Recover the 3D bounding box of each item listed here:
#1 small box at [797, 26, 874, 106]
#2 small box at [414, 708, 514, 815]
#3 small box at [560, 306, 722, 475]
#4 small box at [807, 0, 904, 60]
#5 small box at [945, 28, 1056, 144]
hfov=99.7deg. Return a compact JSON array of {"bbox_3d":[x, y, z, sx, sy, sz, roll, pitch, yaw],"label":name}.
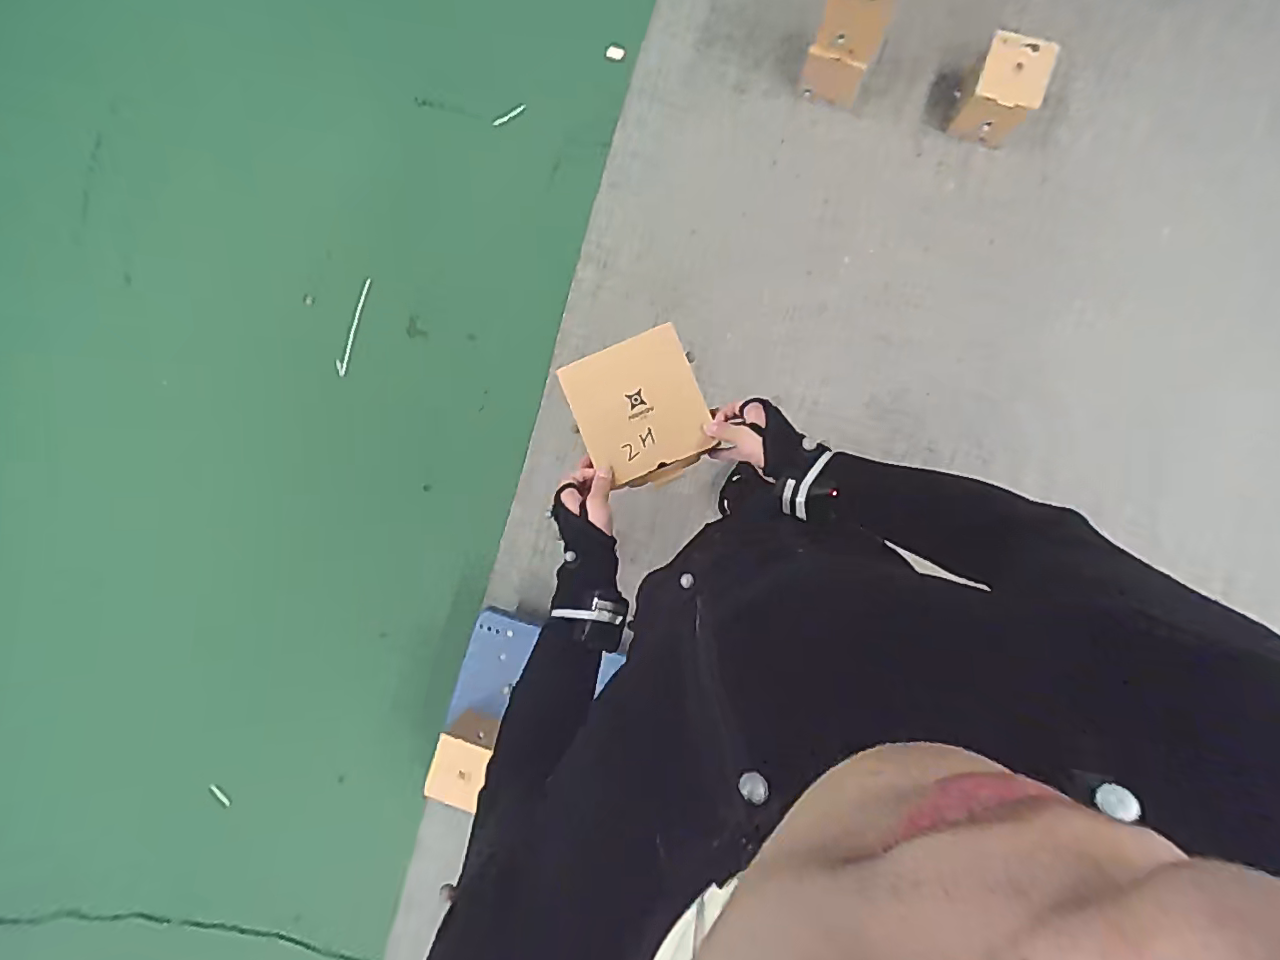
[{"bbox_3d":[0.550,-1.192,1.500,0.168,0.176,0.179,22,91,4],"label":"small box"},{"bbox_3d":[-0.452,0.728,1.420,0.179,0.176,0.168,18,91,4],"label":"small box"},{"bbox_3d":[0.003,-0.114,0.767,0.168,0.176,0.179,-21,89,3],"label":"small box"},{"bbox_3d":[0.541,-1.210,1.346,0.168,0.176,0.179,-37,87,6],"label":"small box"},{"bbox_3d":[0.964,-1.056,1.466,0.168,0.176,0.179,19,93,4],"label":"small box"}]
